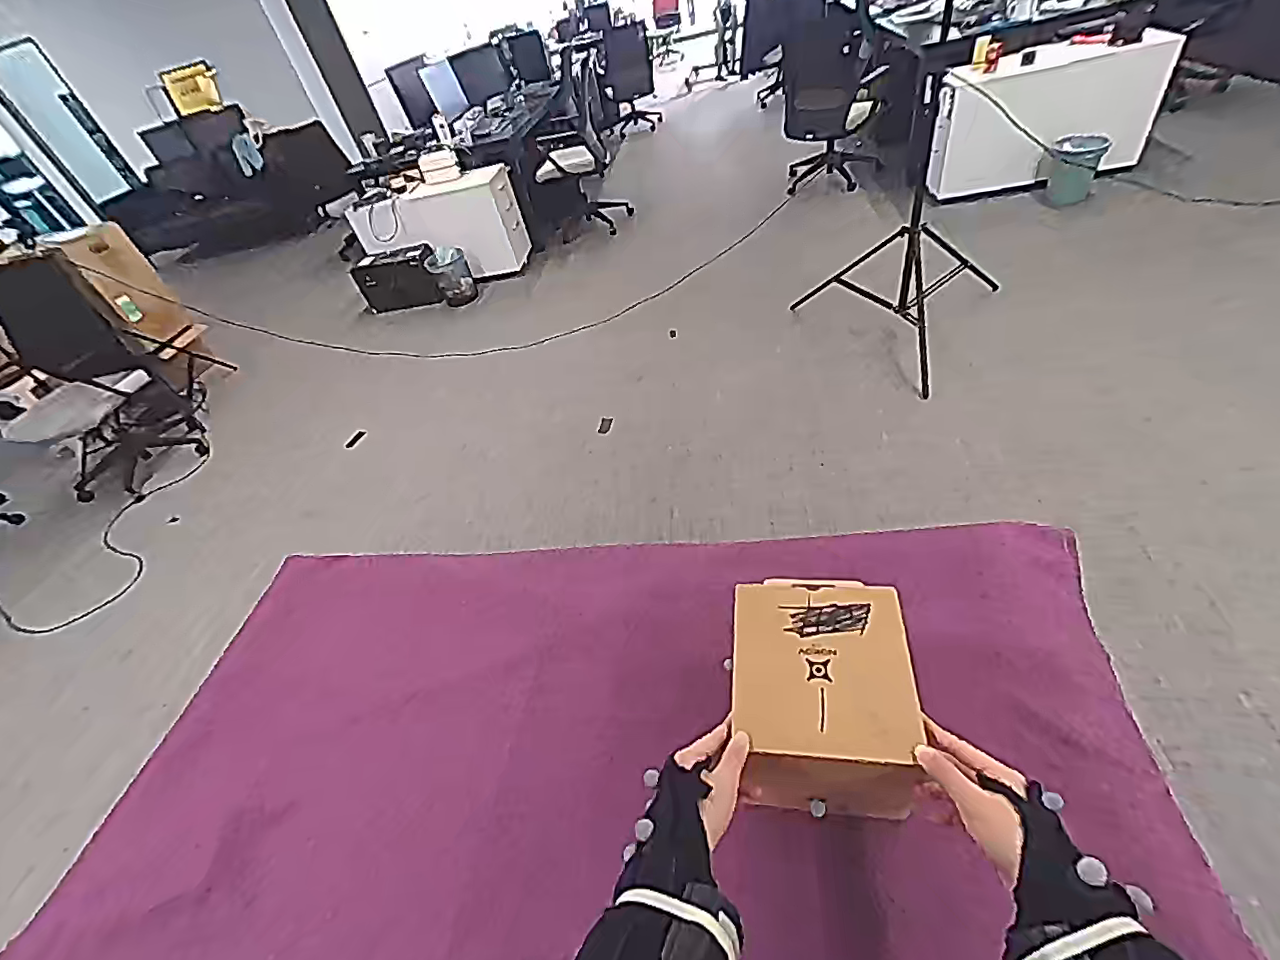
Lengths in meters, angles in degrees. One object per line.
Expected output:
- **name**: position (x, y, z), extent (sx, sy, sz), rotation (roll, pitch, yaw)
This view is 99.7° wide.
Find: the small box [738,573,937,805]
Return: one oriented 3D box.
- **small box**: position (0.196, 0.219, 0.576), extent (0.168, 0.176, 0.179), rotation (-2, 46, 15)
